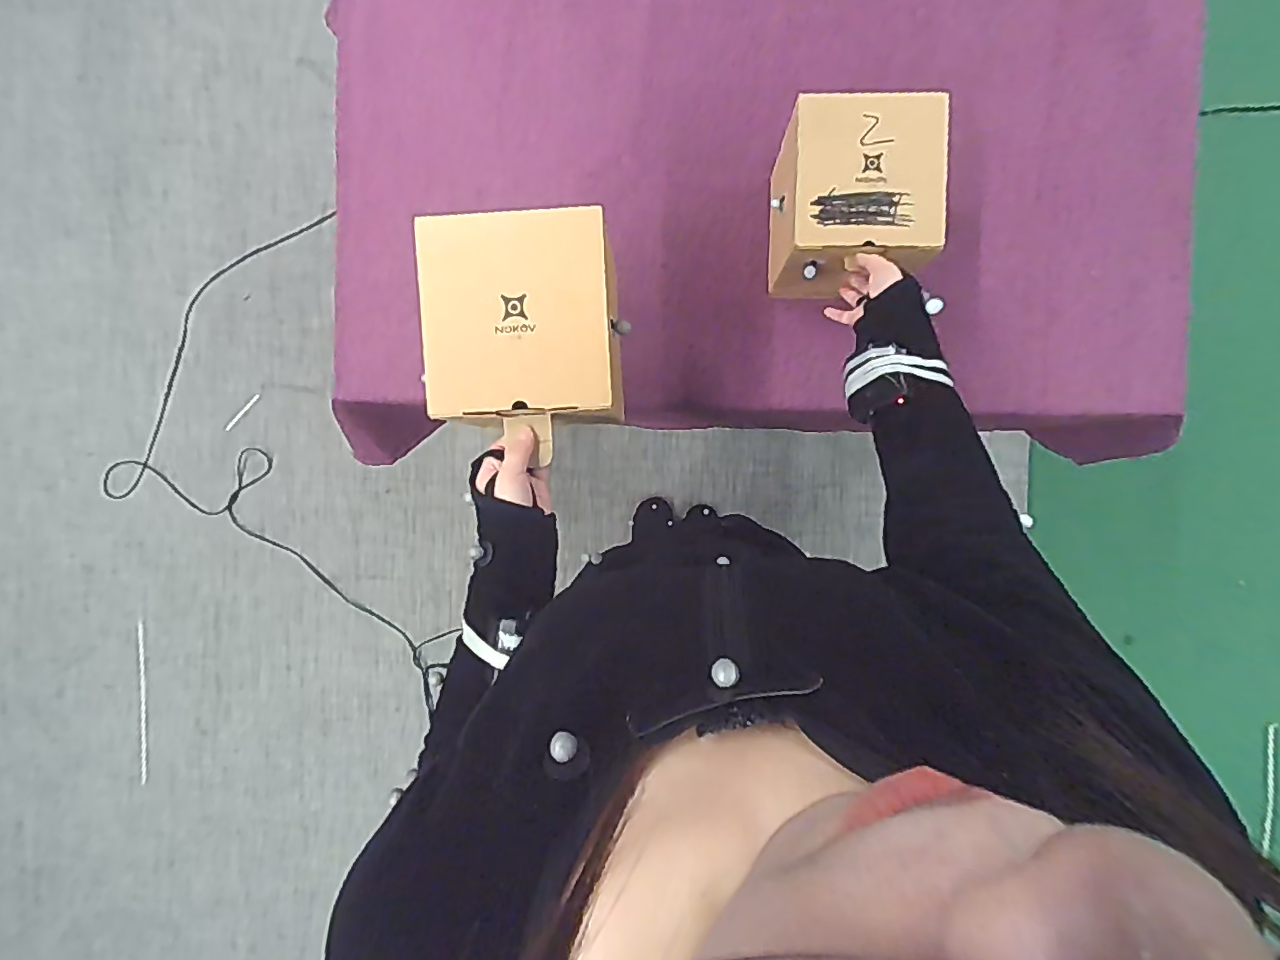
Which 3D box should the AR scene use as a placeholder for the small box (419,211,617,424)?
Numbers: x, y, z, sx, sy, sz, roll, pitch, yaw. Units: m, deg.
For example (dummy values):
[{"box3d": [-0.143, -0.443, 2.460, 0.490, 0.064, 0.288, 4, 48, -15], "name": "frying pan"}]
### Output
[{"box3d": [-0.113, -0.154, 0.566, 0.168, 0.176, 0.179, -3, 93, 1], "name": "small box"}]
